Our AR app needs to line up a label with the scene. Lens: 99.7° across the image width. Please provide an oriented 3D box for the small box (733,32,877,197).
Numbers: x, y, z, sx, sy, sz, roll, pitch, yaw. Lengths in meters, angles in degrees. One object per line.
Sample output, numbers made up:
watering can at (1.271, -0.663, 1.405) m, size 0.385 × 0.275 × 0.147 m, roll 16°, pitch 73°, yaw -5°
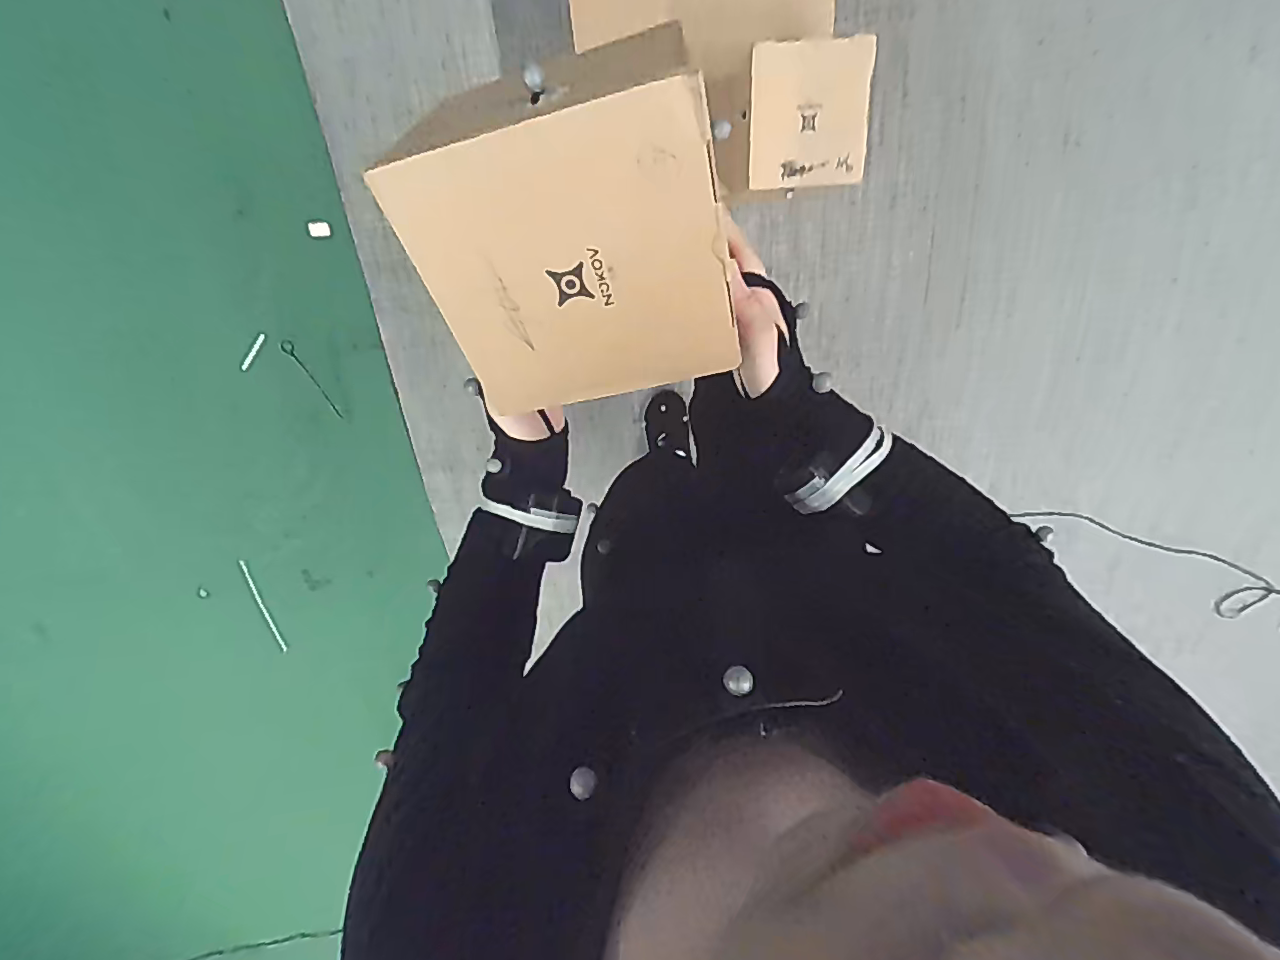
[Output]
small box at (0.235, -0.536, 0.815) m, size 0.168 × 0.176 × 0.179 m, roll -2°, pitch 114°, yaw 2°

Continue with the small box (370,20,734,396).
small box at (-0.039, -0.186, 0.373) m, size 0.179 × 0.176 × 0.168 m, roll -9°, pitch 134°, yaw 10°
